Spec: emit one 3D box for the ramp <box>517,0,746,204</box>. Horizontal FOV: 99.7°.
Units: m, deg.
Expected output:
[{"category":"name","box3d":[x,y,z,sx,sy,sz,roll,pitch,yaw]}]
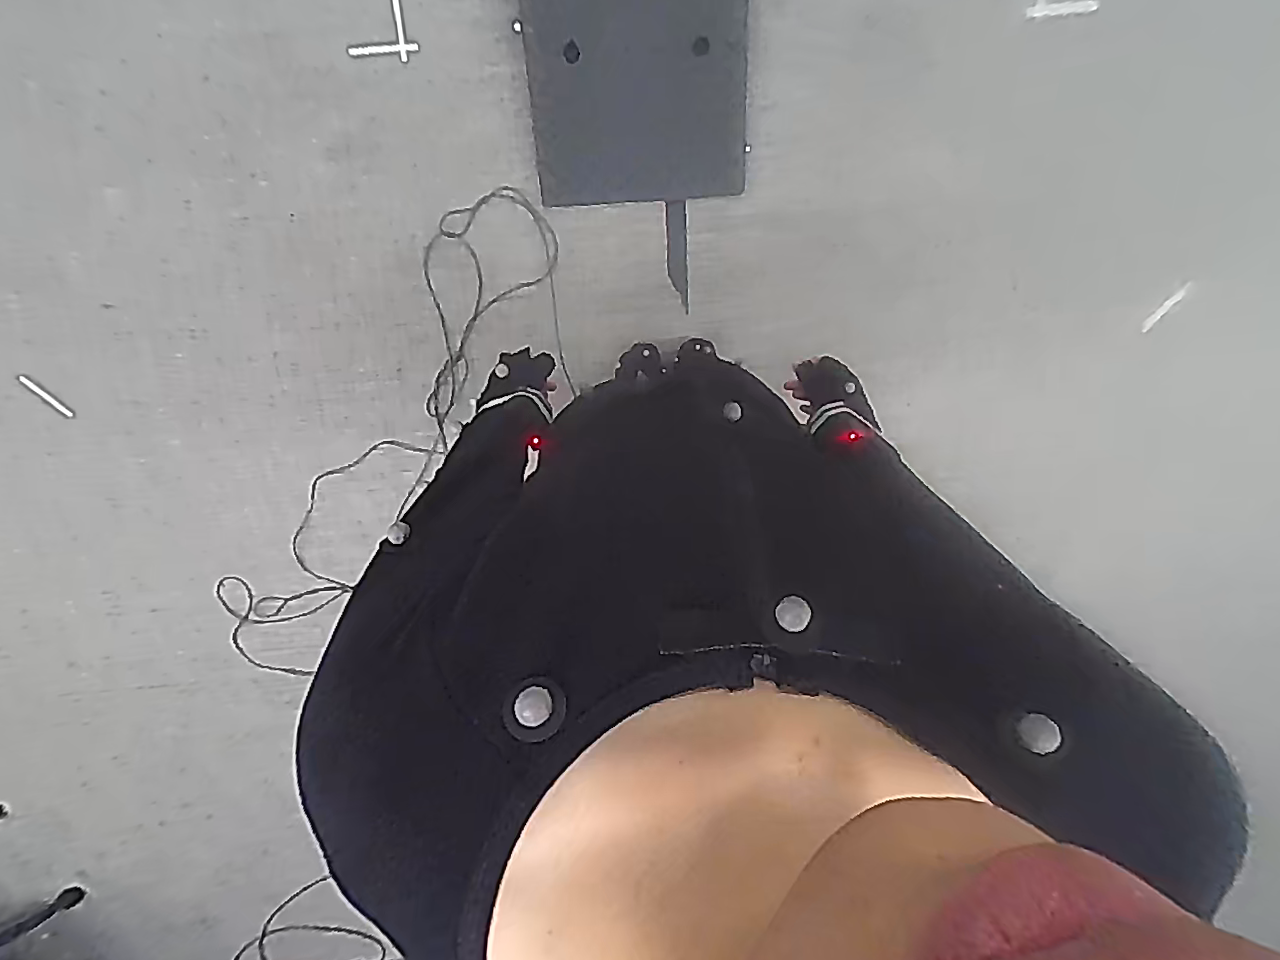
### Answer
[{"category":"ramp","box3d":[-0.022,-1.134,1.095,0.509,0.206,0.991,-7,106,-2]}]
